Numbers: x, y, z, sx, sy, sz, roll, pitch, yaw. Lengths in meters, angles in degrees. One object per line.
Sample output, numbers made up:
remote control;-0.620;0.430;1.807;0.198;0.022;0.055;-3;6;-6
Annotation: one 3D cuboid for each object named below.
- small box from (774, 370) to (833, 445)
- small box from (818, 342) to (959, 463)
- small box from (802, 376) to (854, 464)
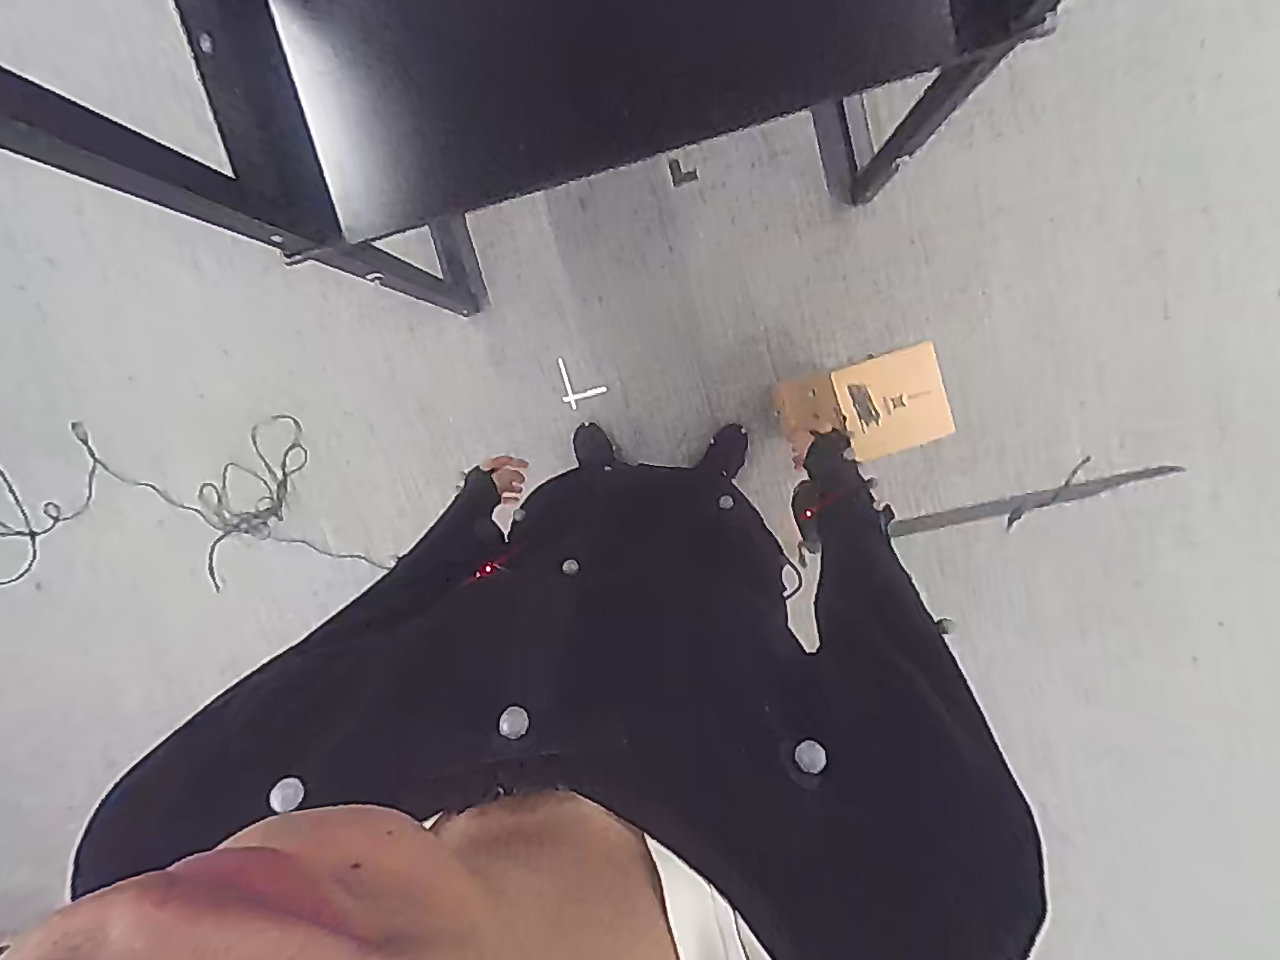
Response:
small box;0.482;-0.202;1.476;0.179;0.176;0.168;-15;97;7
small box;0.439;-0.139;0.990;0.179;0.176;0.168;-18;97;7
small box;0.460;-0.148;1.154;0.168;0.176;0.179;-17;97;7
